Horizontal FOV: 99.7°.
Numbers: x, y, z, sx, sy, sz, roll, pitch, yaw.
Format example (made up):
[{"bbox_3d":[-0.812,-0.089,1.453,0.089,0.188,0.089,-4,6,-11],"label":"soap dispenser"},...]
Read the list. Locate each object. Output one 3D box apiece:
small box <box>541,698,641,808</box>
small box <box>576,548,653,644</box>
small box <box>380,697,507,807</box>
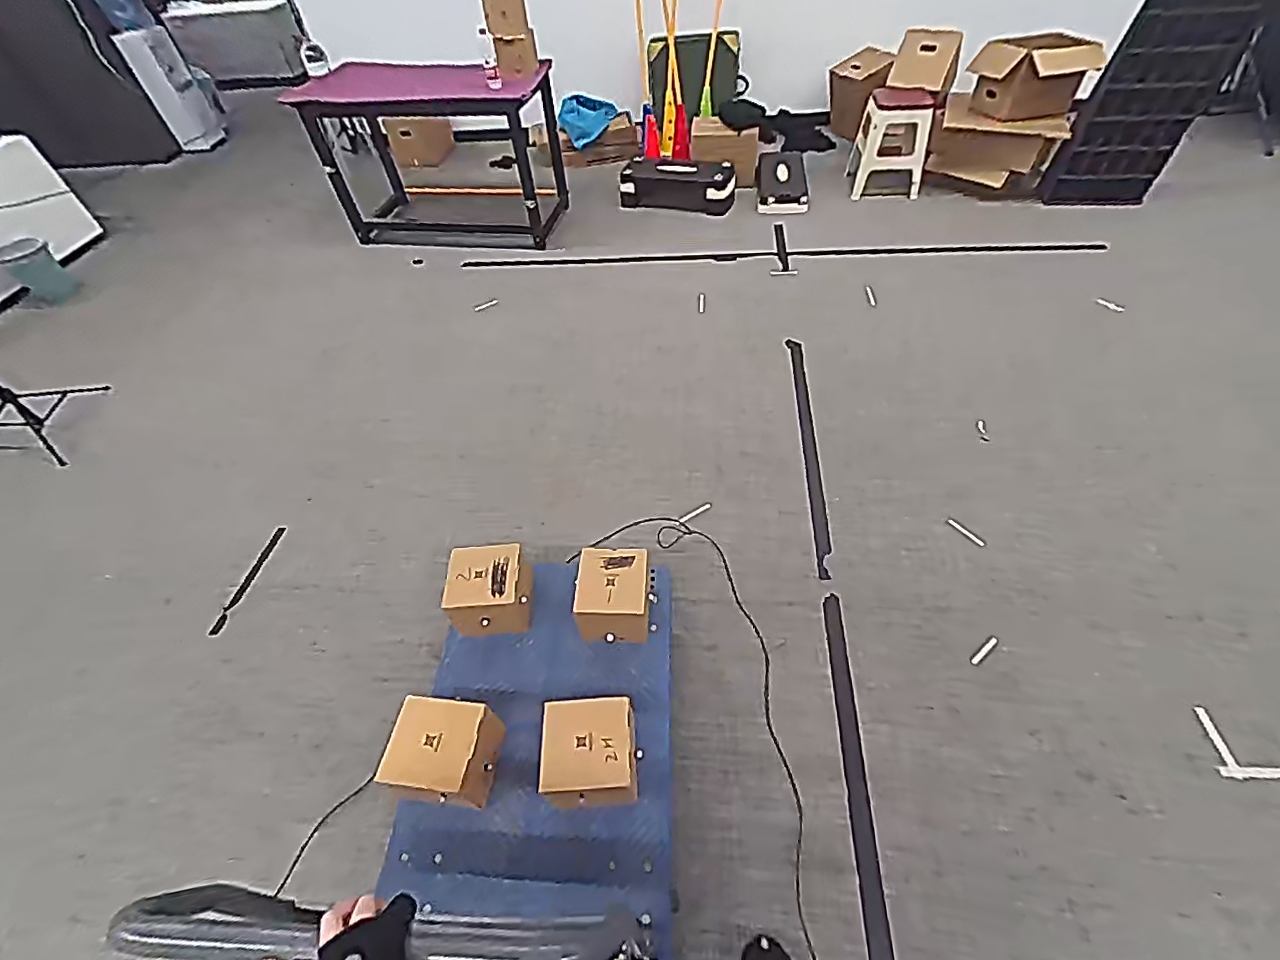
[{"bbox_3d":[-0.094,0.565,1.113,0.179,0.176,0.168,-4,50,2],"label":"small box"},{"bbox_3d":[-0.056,0.289,1.342,0.168,0.176,0.179,0,51,5],"label":"small box"},{"bbox_3d":[-0.401,0.573,1.135,0.179,0.176,0.168,3,51,6],"label":"small box"}]
